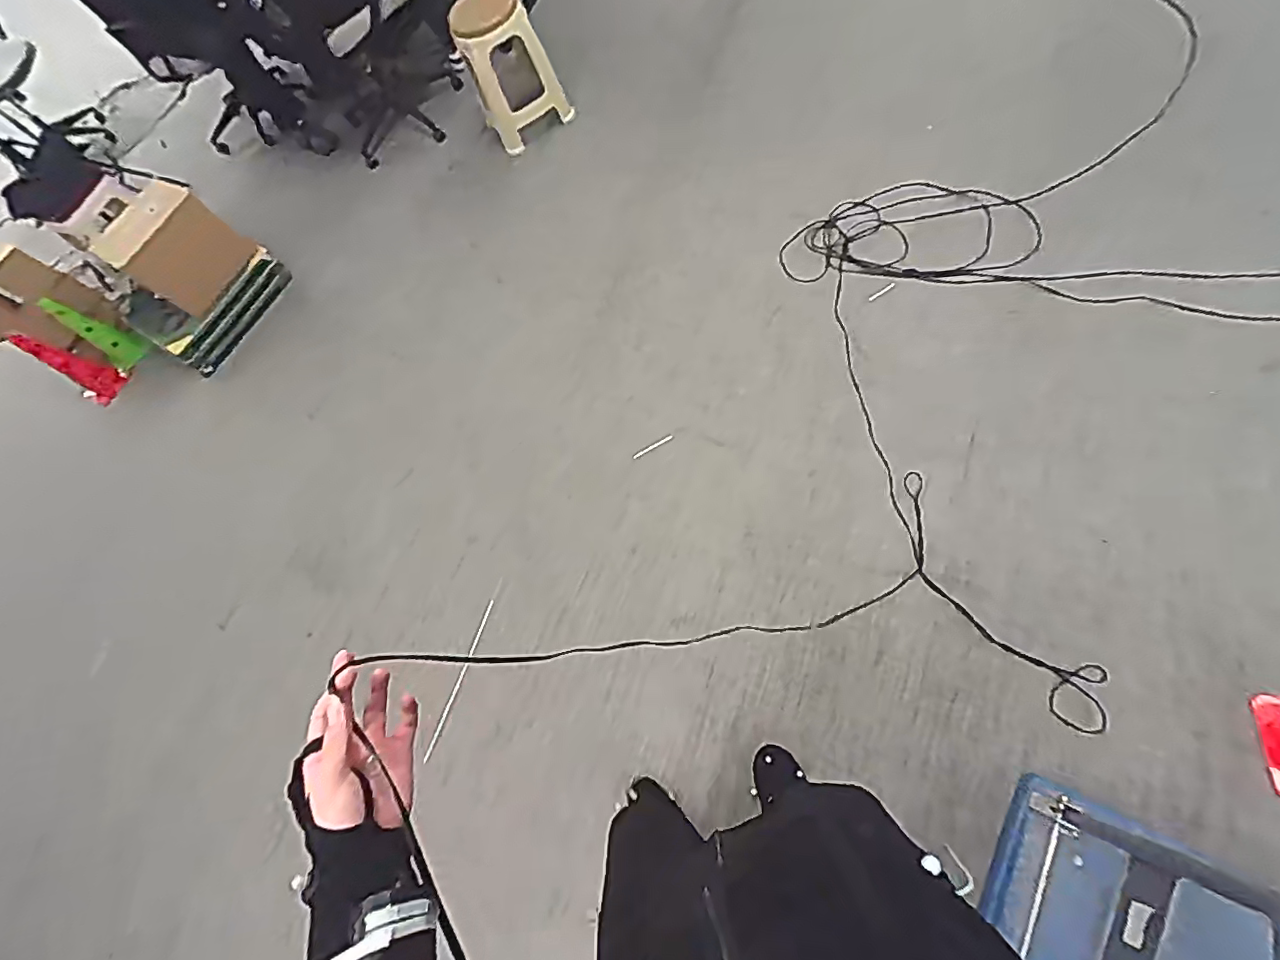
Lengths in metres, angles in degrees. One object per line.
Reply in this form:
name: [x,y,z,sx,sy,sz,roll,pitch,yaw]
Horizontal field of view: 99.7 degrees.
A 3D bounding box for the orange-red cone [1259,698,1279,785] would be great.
orange-red cone: [1.353,0.489,0.937,0.198,0.360,0.199,1,68,15]
